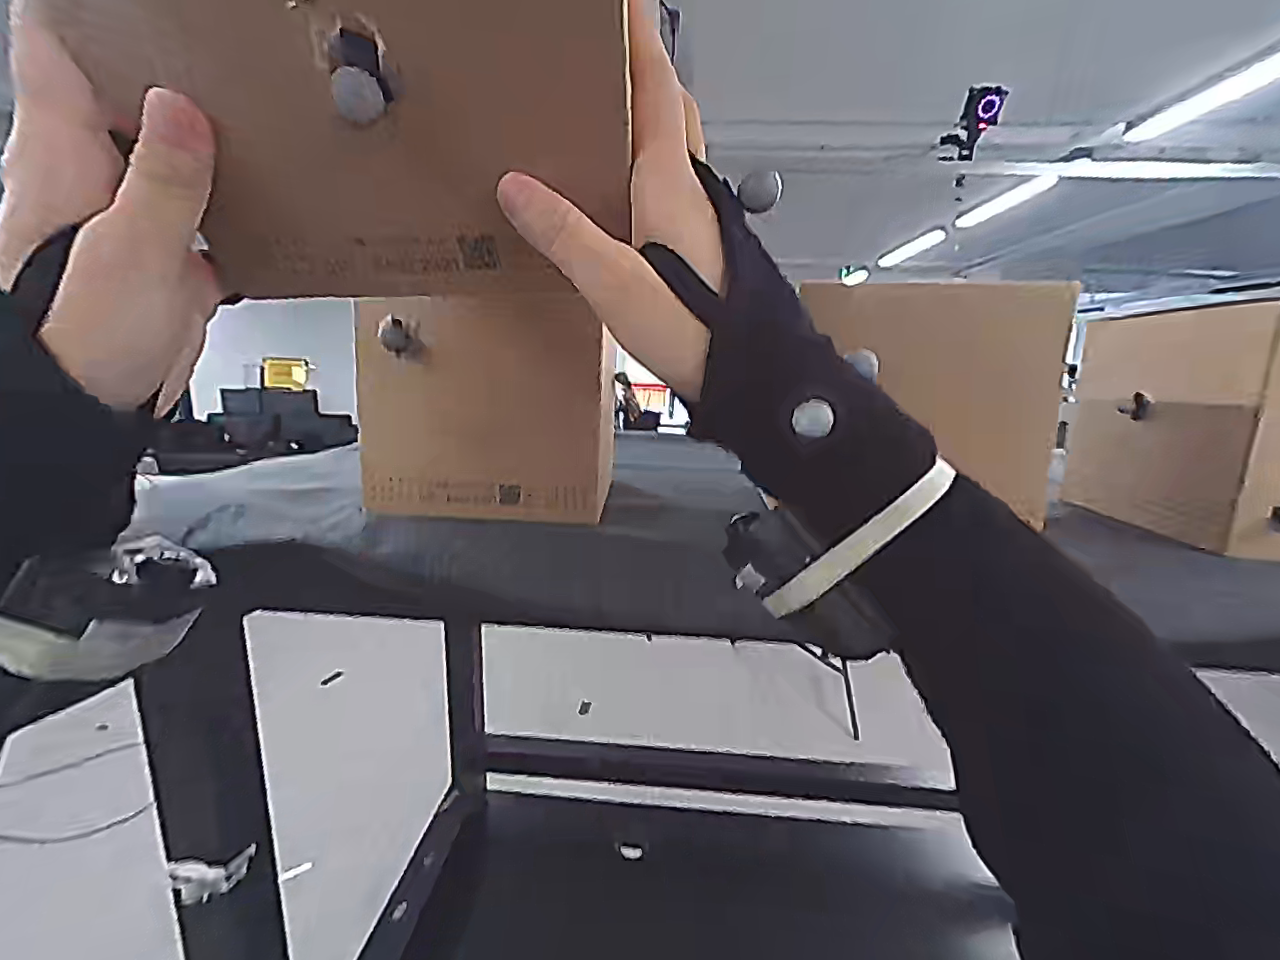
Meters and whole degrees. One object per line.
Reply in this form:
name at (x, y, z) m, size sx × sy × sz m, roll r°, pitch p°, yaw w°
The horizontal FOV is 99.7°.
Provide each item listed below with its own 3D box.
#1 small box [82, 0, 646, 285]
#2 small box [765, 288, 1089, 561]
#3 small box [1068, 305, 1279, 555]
small box at (-0.082, -0.195, 0.215) m, size 0.168 × 0.176 × 0.179 m, roll -1°, pitch 53°, yaw -1°
small box at (0.192, -0.046, 0.422) m, size 0.168 × 0.176 × 0.179 m, roll 2°, pitch 10°, yaw 7°
small box at (0.475, -0.036, 0.411) m, size 0.168 × 0.176 × 0.179 m, roll 3°, pitch 11°, yaw 6°
